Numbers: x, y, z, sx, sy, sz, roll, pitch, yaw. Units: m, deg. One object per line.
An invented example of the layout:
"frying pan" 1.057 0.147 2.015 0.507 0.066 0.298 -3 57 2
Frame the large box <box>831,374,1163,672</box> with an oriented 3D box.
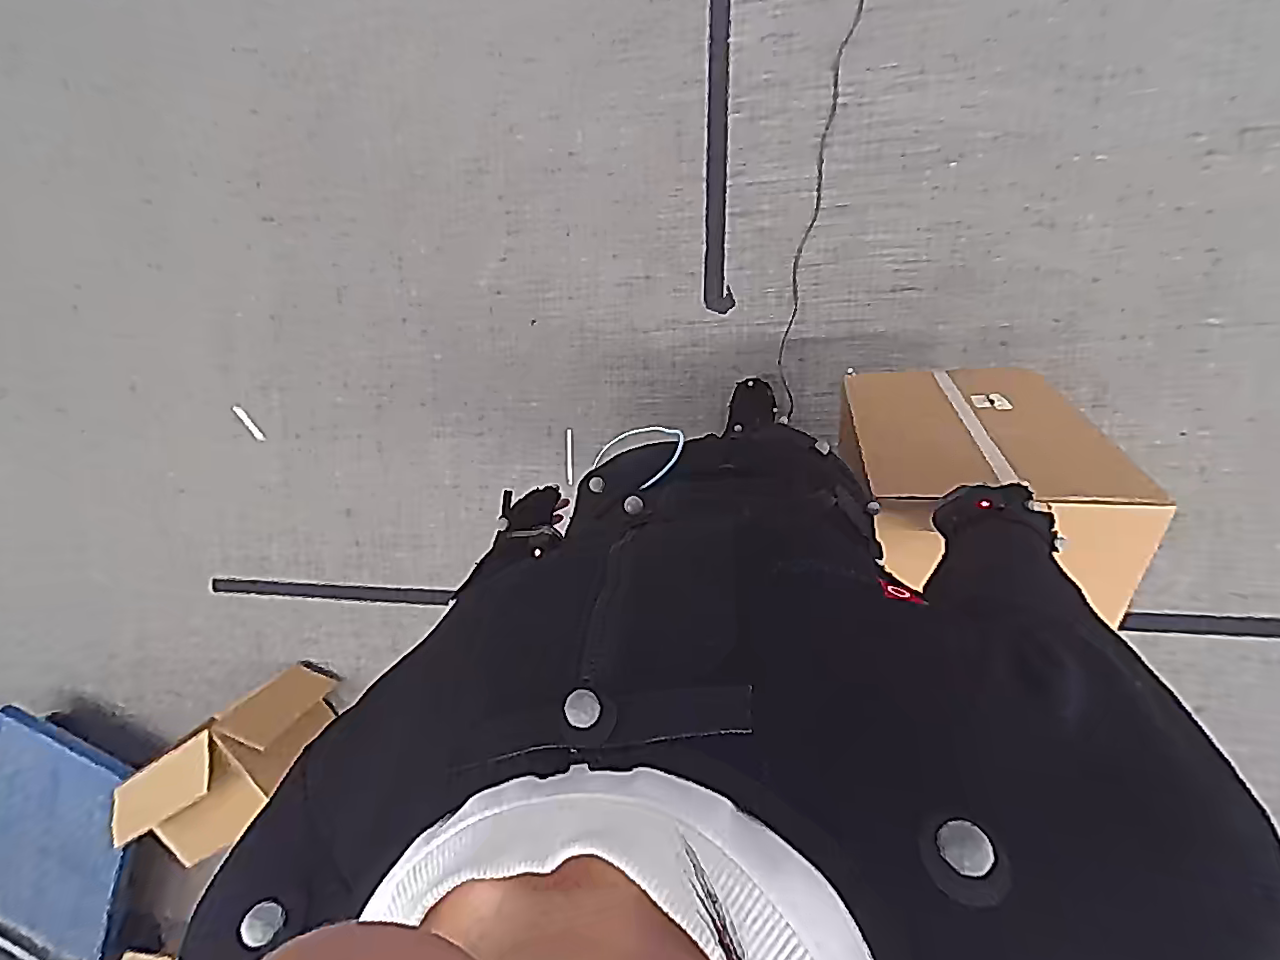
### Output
"large box" 0.500 0.048 0.882 0.320 0.408 0.320 2 122 12
